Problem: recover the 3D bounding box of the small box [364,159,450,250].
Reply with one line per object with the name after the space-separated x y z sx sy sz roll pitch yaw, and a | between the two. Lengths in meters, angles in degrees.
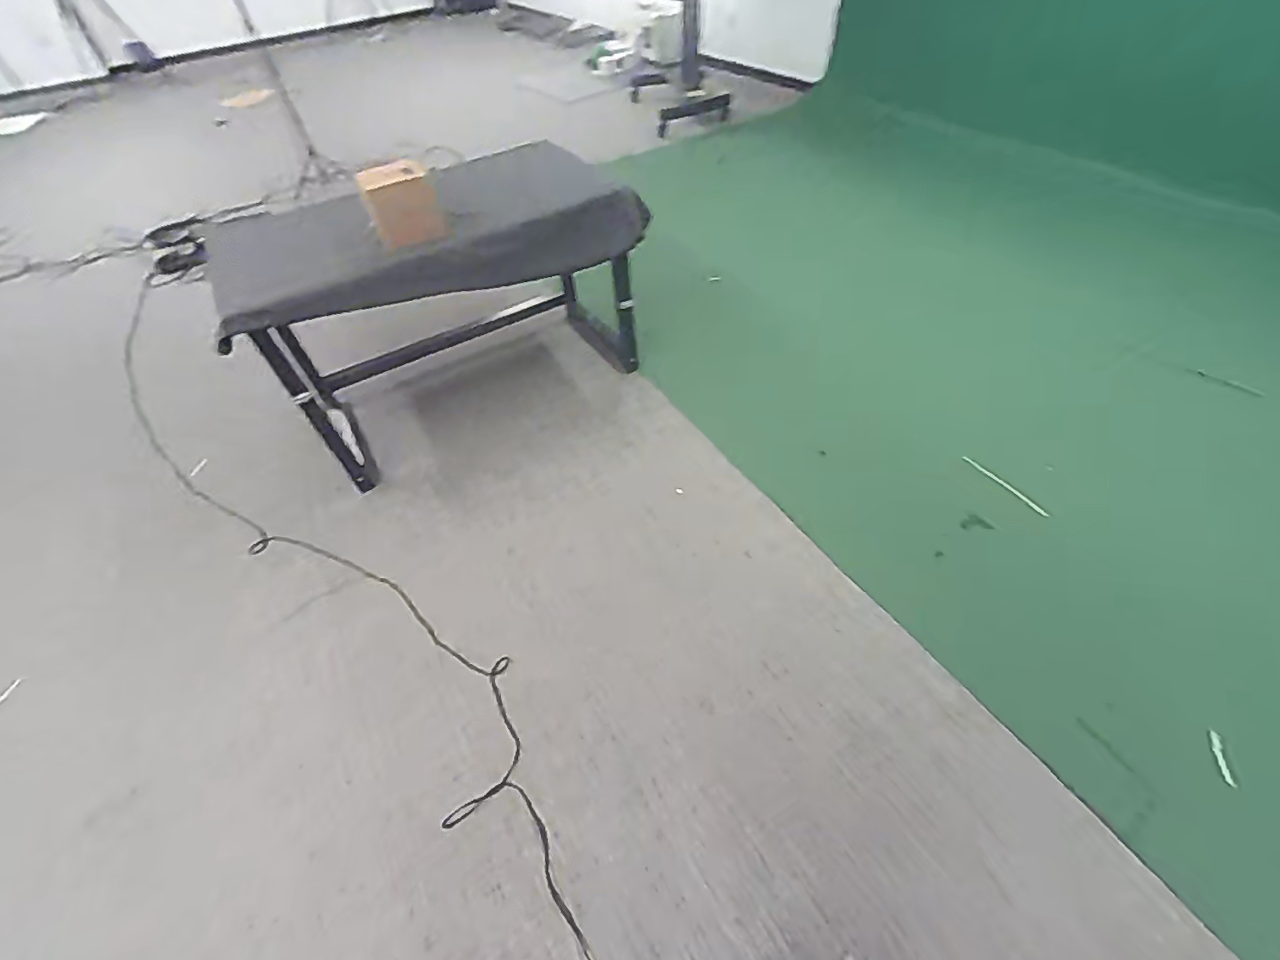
-0.664 -0.793 1.558 0.179 0.176 0.168 -24 49 -14 | small box
